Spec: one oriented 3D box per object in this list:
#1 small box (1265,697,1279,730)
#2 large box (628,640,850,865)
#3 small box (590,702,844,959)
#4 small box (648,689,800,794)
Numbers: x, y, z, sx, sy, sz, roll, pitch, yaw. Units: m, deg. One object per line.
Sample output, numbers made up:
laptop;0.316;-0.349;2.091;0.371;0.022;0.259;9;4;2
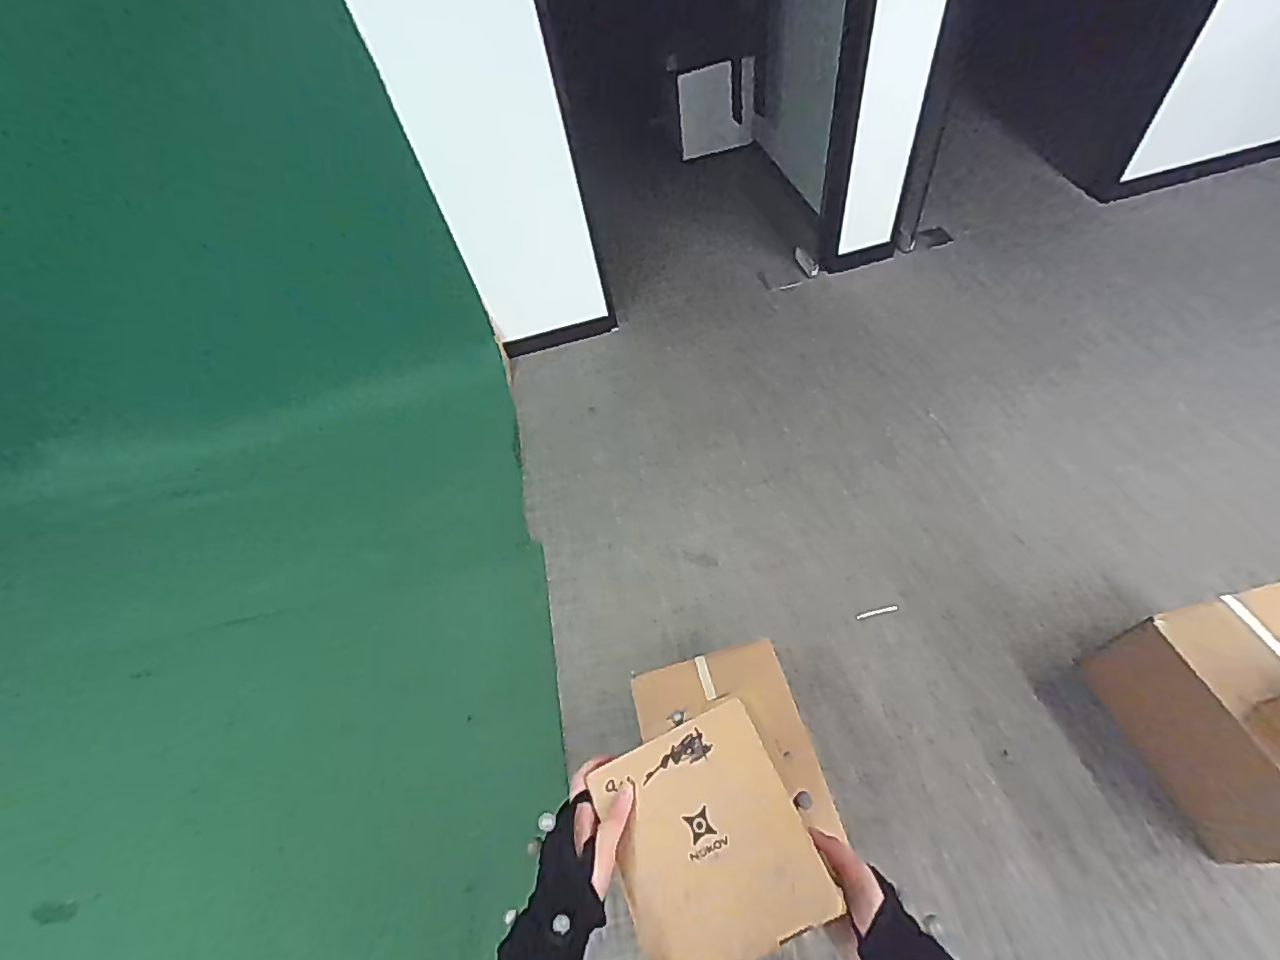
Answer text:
small box;1.164;0.384;0.832;0.179;0.176;0.168;-18;54;-1
large box;0.192;0.618;1.145;0.320;0.320;0.408;-16;52;-1
small box;0.077;0.339;0.535;0.168;0.176;0.179;-28;62;2
small box;0.126;0.434;0.780;0.168;0.176;0.179;-20;52;-4
